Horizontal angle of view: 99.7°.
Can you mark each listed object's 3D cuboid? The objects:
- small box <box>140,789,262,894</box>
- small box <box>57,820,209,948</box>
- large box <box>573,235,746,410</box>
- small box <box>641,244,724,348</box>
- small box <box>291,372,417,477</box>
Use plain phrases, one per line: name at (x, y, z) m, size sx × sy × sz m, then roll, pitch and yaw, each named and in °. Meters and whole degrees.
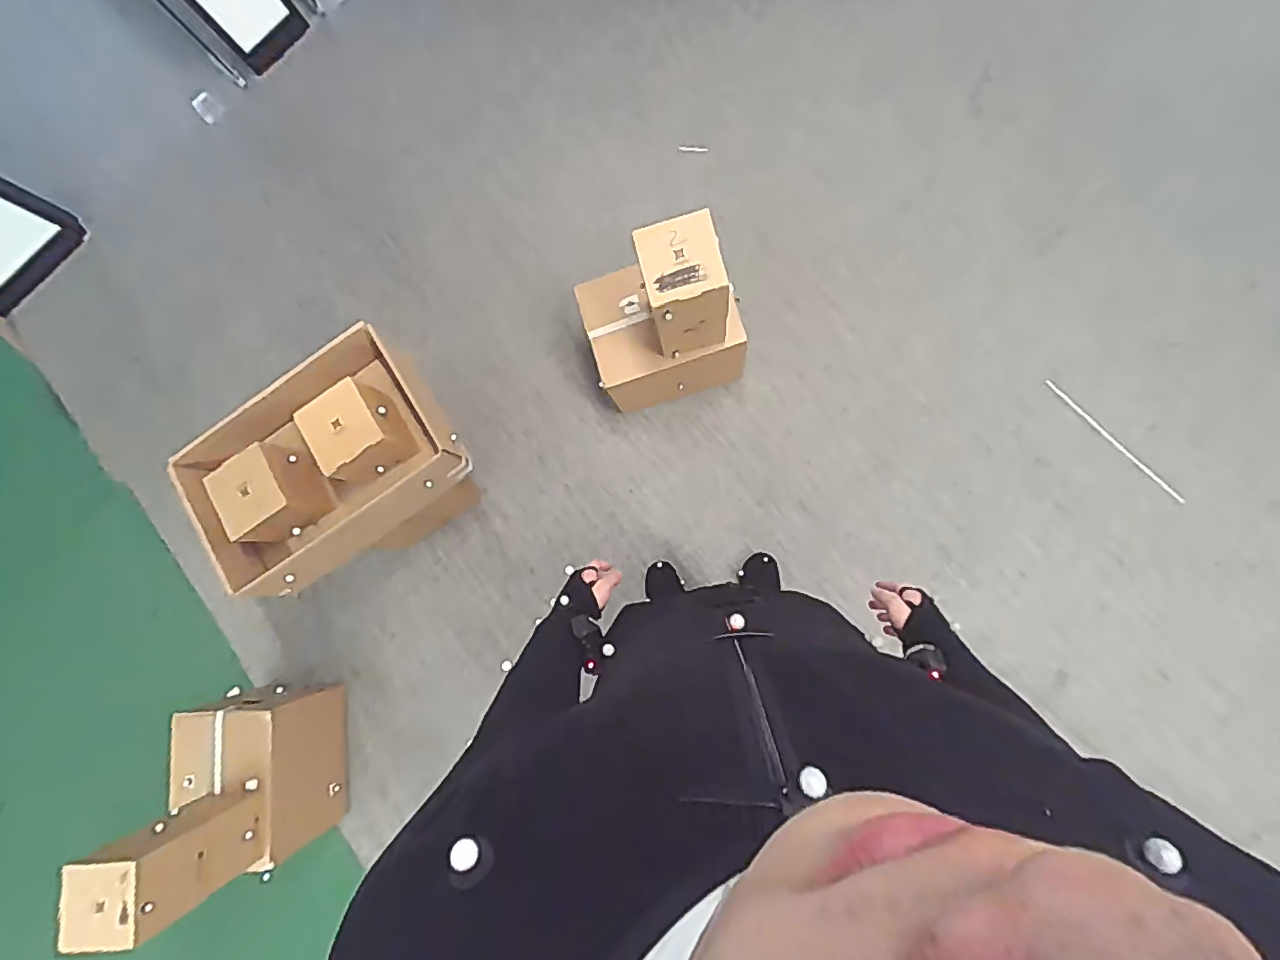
small box at (-1.084, 0.890, 1.339) m, size 0.179 × 0.176 × 0.168 m, roll -6°, pitch 83°, yaw 6°
small box at (-1.094, 0.869, 1.177) m, size 0.179 × 0.176 × 0.168 m, roll -7°, pitch 82°, yaw 7°
large box at (0.068, -0.439, 1.593) m, size 0.408 × 0.320 × 0.320 m, roll -18°, pitch 81°, yaw 6°
small box at (0.110, -0.442, 1.338) m, size 0.168 × 0.176 × 0.179 m, roll -14°, pitch 83°, yaw 6°
small box at (-0.677, -0.124, 1.299) m, size 0.168 × 0.176 × 0.179 m, roll -33°, pitch 82°, yaw 3°
